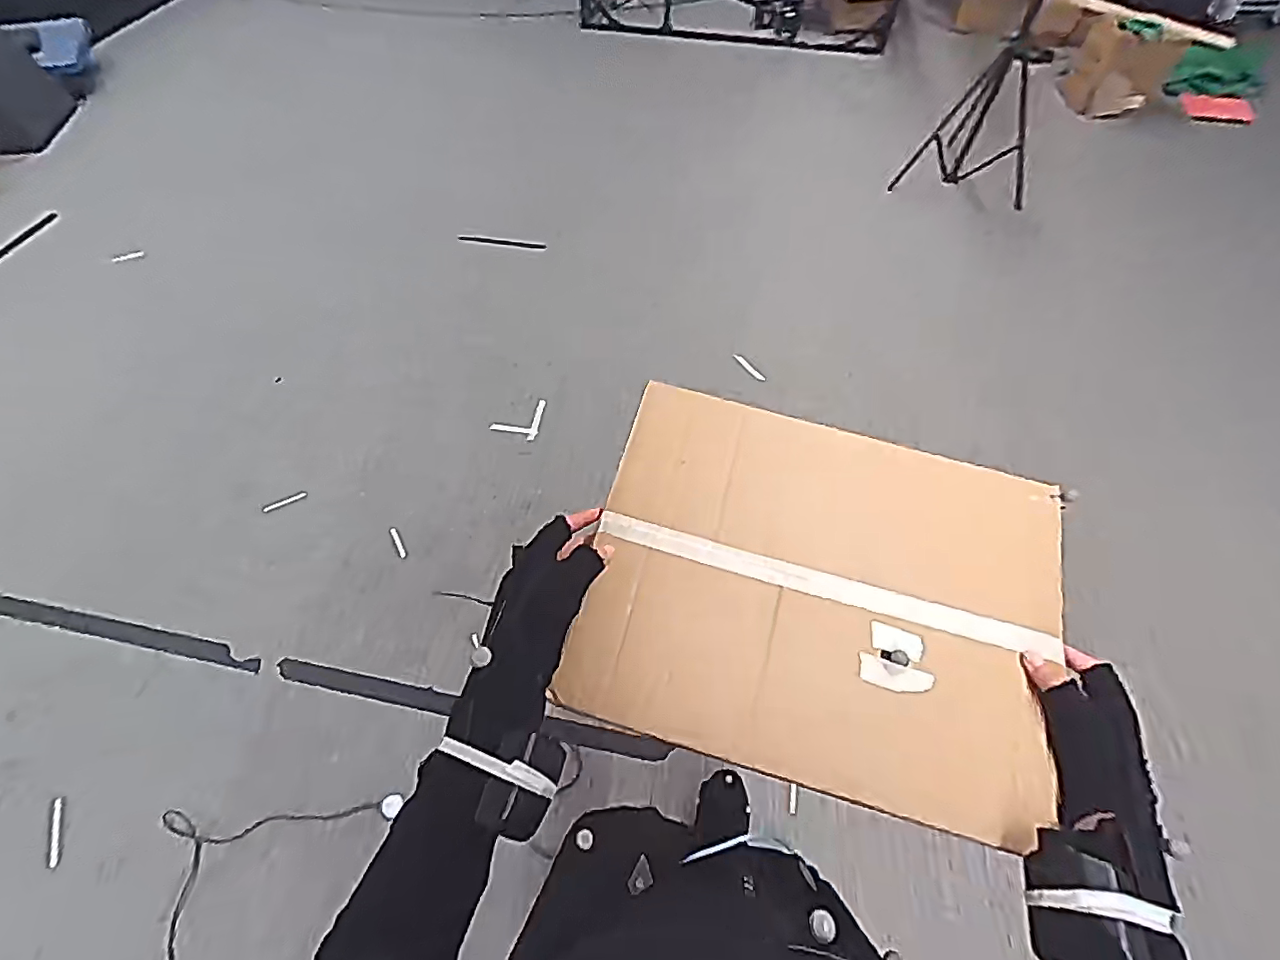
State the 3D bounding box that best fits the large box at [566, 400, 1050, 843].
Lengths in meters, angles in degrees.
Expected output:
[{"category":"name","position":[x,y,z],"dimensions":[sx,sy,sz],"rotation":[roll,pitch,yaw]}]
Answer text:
[{"category":"large box","position":[0.160,0.155,0.626],"dimensions":[0.408,0.320,0.320],"rotation":[15,69,5]}]
